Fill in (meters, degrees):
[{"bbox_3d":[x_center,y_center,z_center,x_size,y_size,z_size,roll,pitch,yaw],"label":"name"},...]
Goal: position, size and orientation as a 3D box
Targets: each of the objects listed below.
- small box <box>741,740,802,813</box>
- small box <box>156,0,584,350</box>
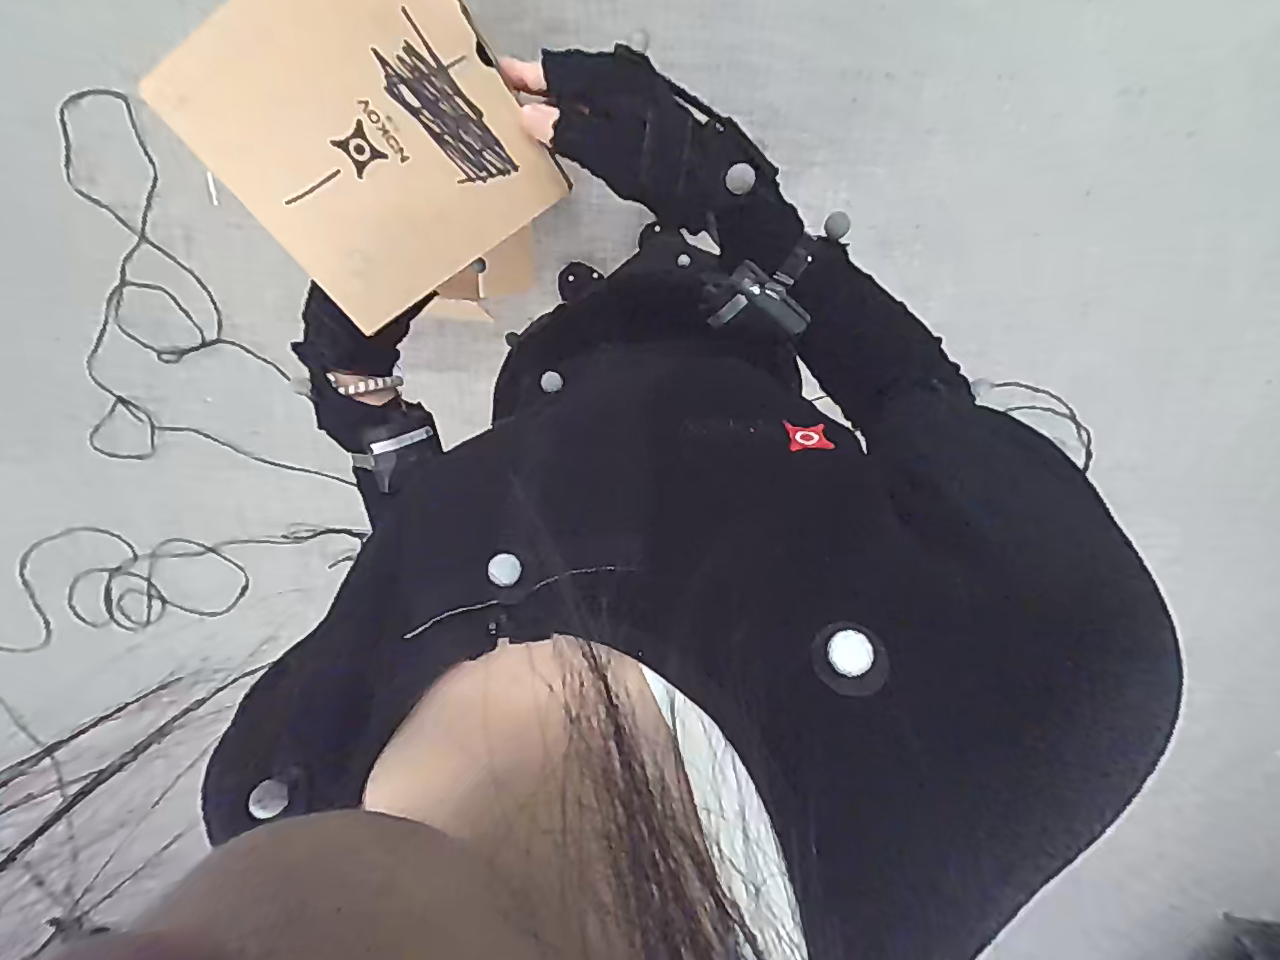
[{"bbox_3d":[0.459,1.048,1.920,0.179,0.176,0.168,0,113,0],"label":"small box"},{"bbox_3d":[-0.159,-0.229,0.382,0.179,0.176,0.168,-30,122,11],"label":"small box"}]
